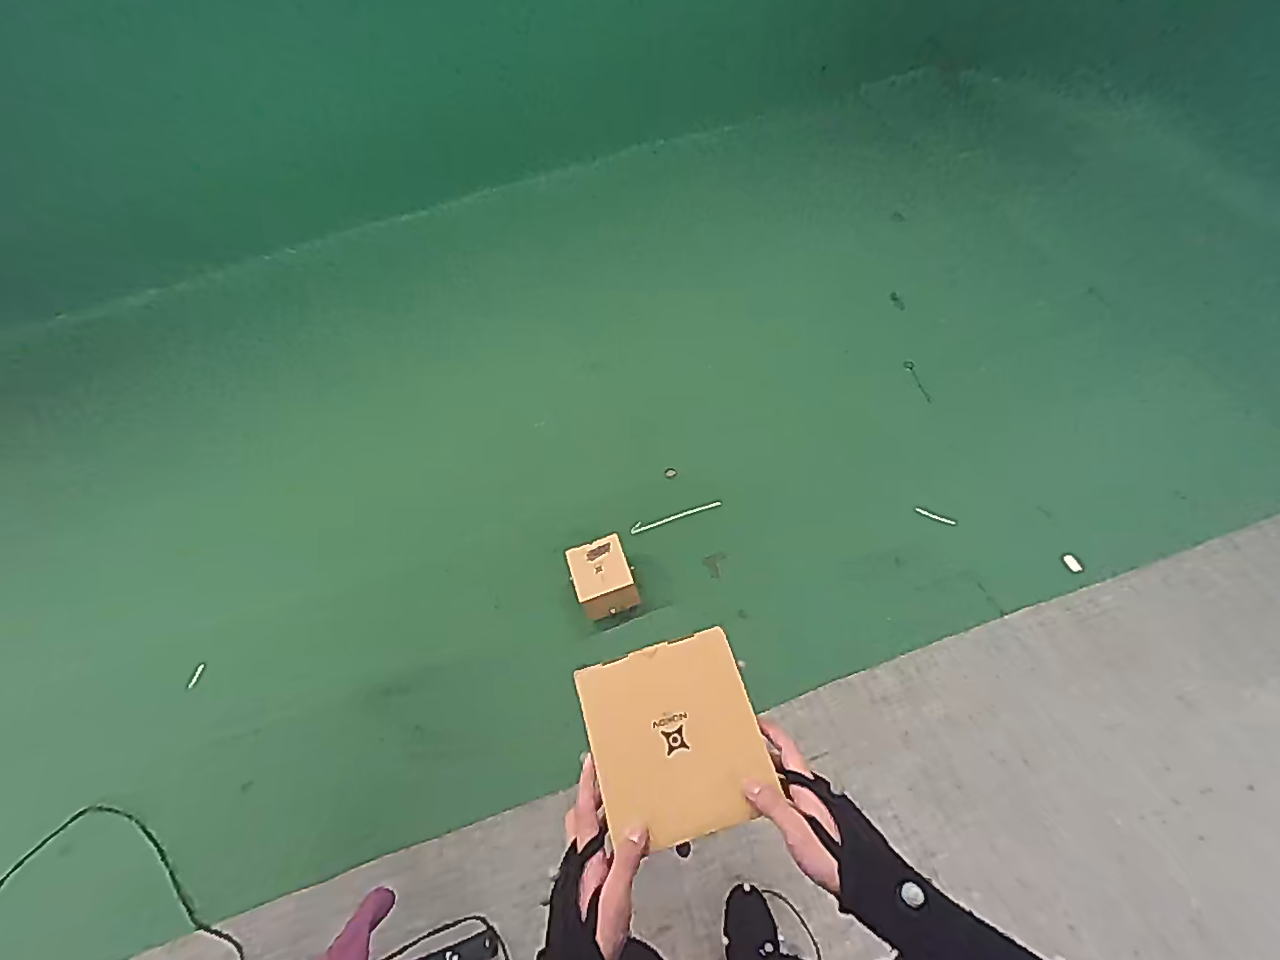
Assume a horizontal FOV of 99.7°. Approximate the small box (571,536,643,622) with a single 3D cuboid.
[{"bbox_3d":[-0.098,0.304,1.640,0.168,0.176,0.179,-20,57,-4],"label":"small box"}]
